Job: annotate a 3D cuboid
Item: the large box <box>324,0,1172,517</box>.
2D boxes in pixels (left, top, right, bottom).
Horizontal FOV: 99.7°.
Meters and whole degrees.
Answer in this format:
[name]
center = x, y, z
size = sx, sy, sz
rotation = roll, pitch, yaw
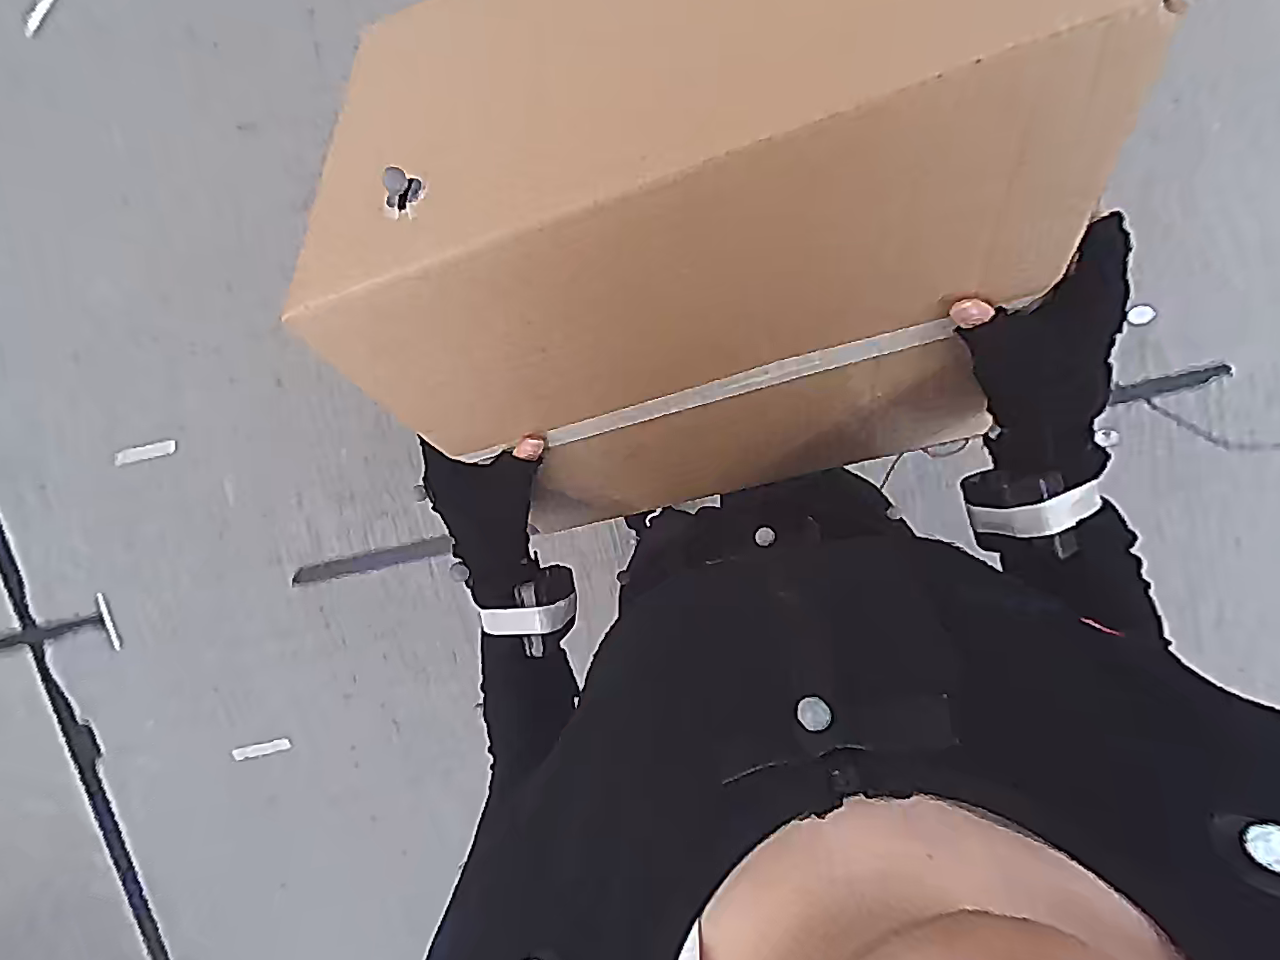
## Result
[large box]
center = 0.044, -0.202, 0.446
size = 0.408, 0.320, 0.320
rotation = -12, 61, 11
